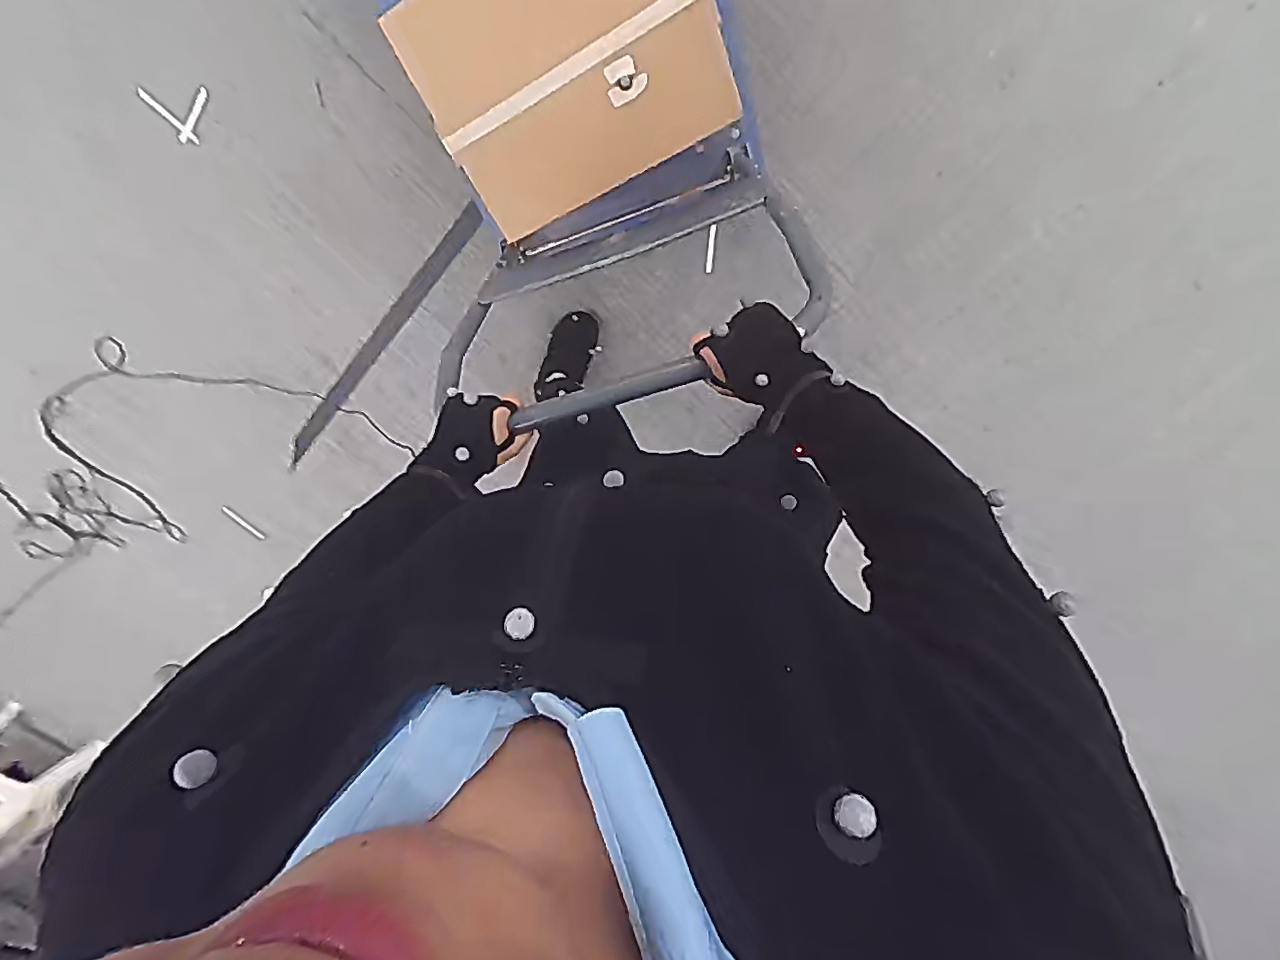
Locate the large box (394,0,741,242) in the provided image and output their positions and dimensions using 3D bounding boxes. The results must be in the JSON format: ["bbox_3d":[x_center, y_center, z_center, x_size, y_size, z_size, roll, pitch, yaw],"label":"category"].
[{"bbox_3d":[-0.095,-0.657,0.876,0.408,0.320,0.320,-22,124,16],"label":"large box"}]
